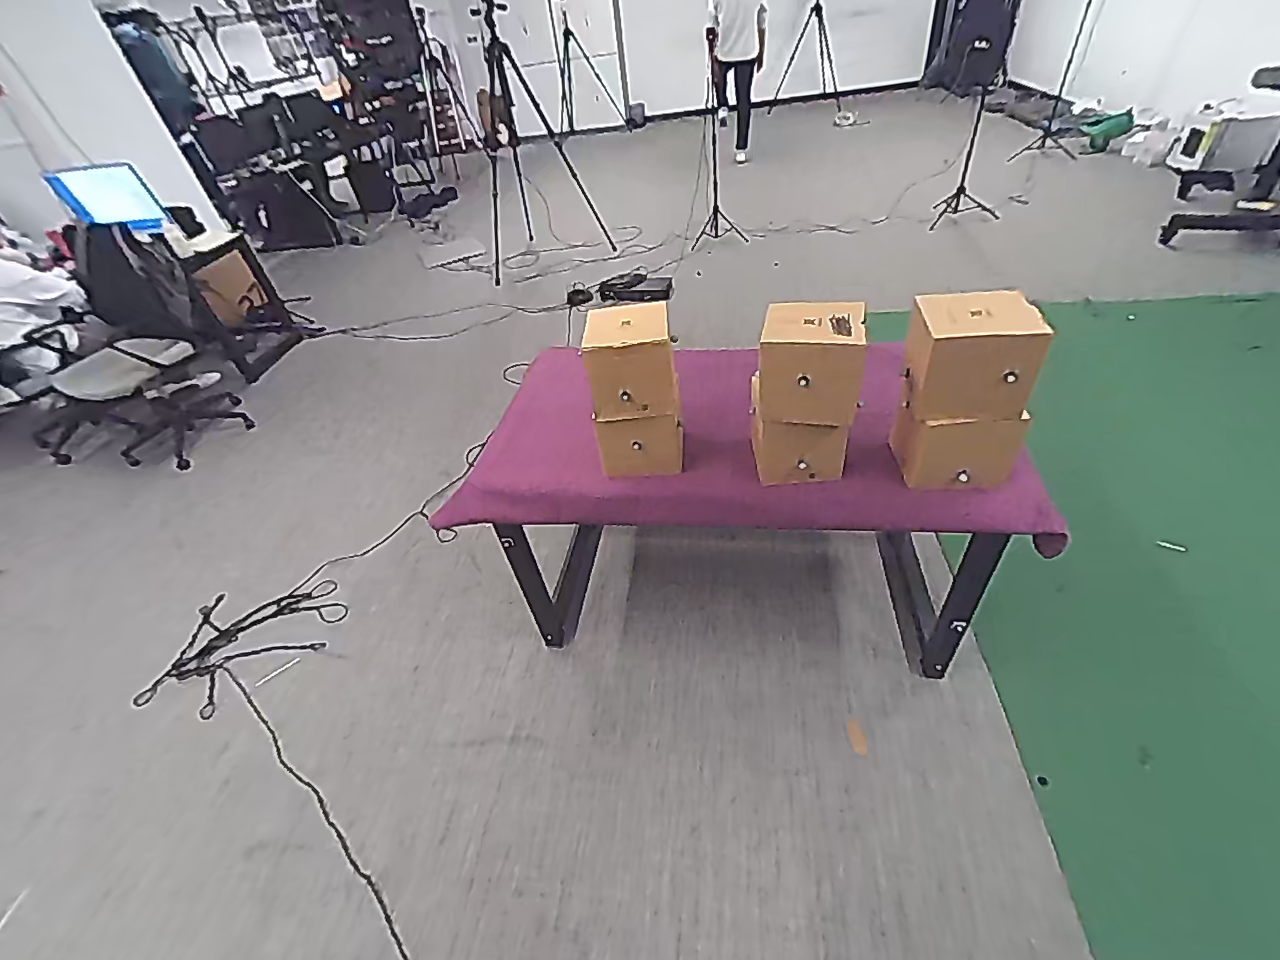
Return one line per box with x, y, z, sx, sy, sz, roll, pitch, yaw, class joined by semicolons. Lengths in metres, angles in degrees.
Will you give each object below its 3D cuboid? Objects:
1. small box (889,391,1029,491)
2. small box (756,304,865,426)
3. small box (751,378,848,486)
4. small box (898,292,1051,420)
0.615;-0.092;1.069;0.179;0.176;0.168;-3;41;9;small box
0.318;-0.215;1.016;0.179;0.176;0.168;5;42;18;small box
0.327;-0.107;1.143;0.168;0.176;0.179;-4;40;7;small box
0.583;-0.219;0.969;0.179;0.176;0.168;1;42;13;small box
